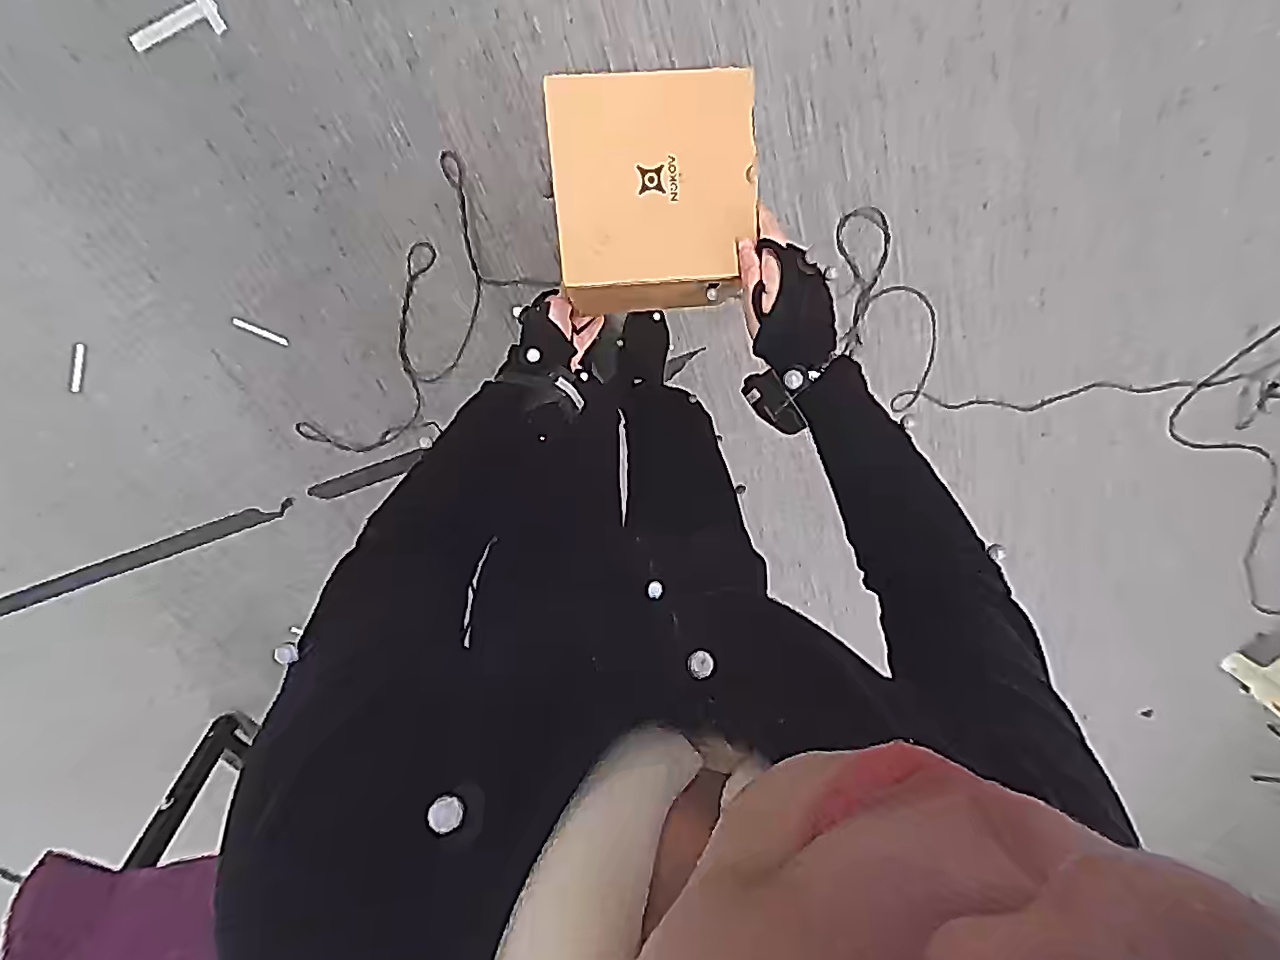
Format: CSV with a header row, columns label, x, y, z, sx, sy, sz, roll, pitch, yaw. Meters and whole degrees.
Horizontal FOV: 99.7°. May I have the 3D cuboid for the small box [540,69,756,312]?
label,x,y,z,sx,sy,sz,roll,pitch,yaw
small box,0.004,-0.269,0.539,0.179,0.176,0.168,-6,99,-5
